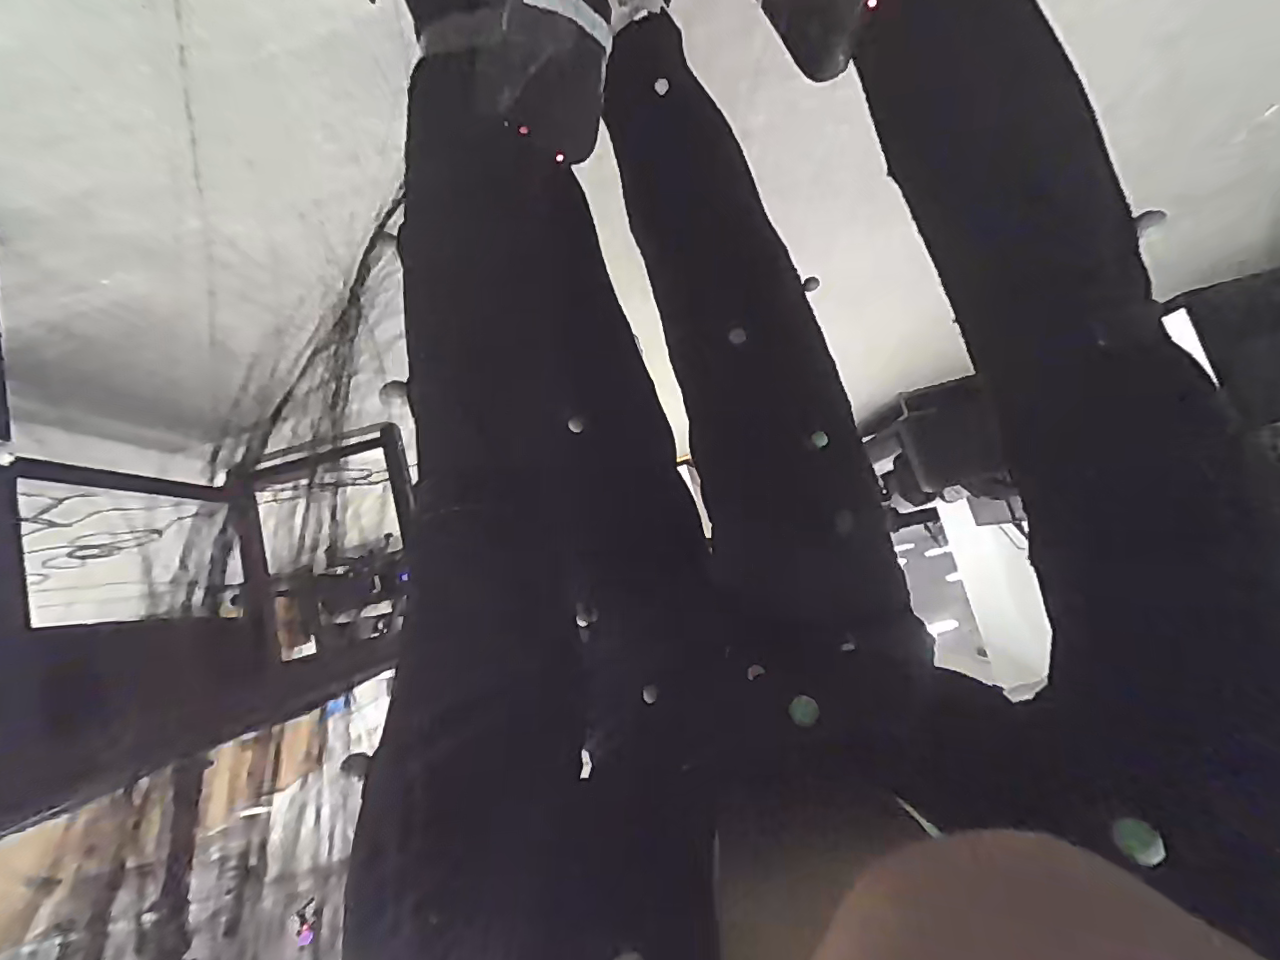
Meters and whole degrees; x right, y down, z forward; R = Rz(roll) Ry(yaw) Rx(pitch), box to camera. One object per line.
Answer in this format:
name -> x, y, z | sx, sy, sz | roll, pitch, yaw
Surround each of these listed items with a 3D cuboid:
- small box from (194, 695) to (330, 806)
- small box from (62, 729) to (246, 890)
small box -> -0.813, 0.580, 1.168 | 0.179, 0.176, 0.168 | -14, 171, 0
small box -> -0.826, 0.549, 0.927 | 0.179, 0.176, 0.168 | -15, 172, 1
